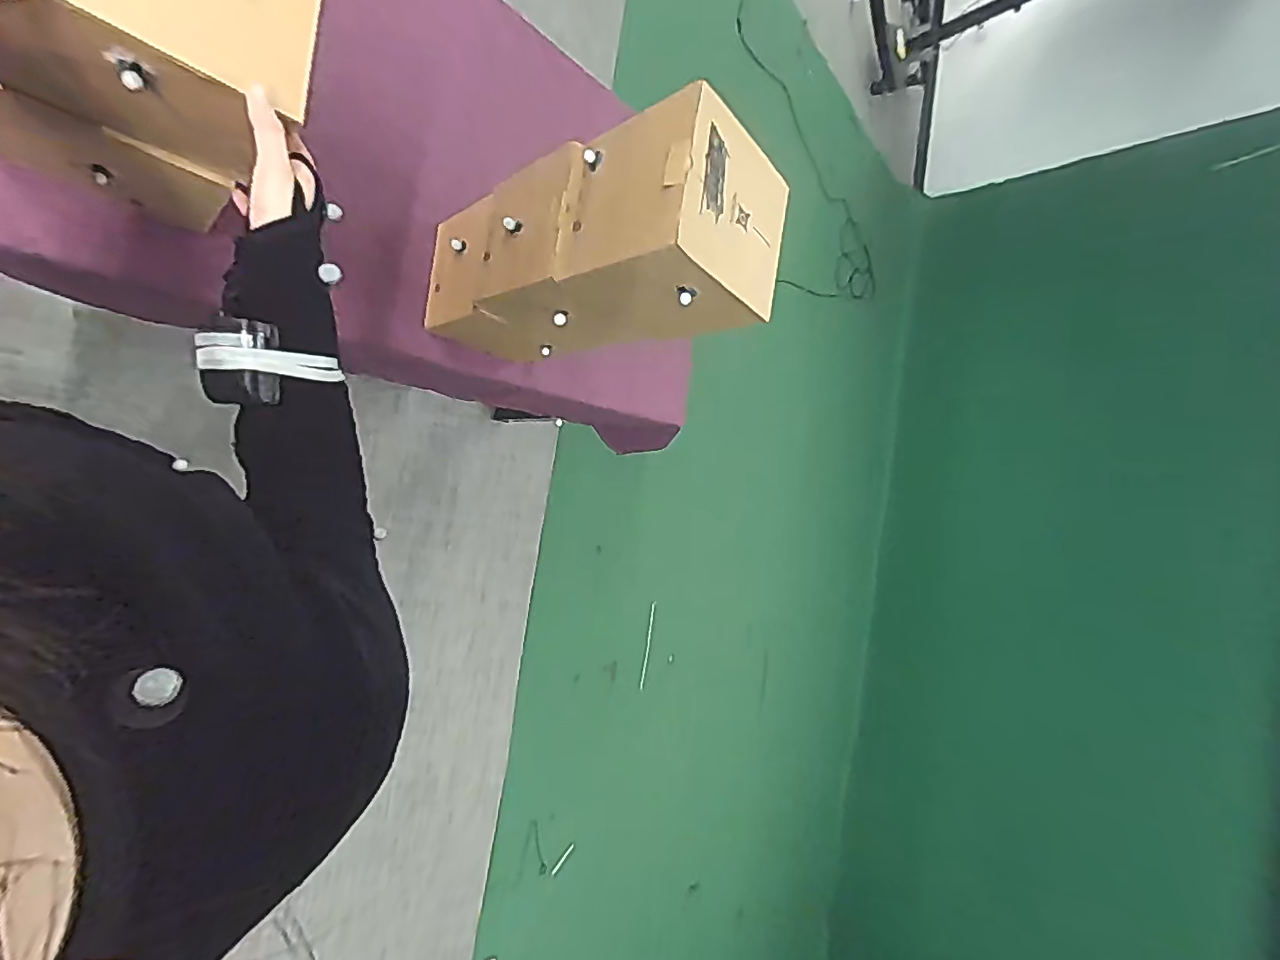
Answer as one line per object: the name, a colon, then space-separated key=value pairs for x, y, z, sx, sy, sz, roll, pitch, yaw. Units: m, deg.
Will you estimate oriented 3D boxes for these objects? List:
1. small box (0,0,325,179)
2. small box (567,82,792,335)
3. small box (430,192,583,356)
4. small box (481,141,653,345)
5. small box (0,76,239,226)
small box: x=-0.360 y=-0.362 z=0.405 sx=0.179 sy=0.176 sz=0.168 roll=10 pitch=88 yaw=-47
small box: x=0.043 y=-0.272 z=0.597 sx=0.179 sy=0.176 sz=0.168 roll=16 pitch=82 yaw=-47
small box: x=-0.195 y=-0.295 z=0.822 sx=0.179 sy=0.176 sz=0.168 roll=10 pitch=87 yaw=-47
small box: x=-0.082 y=-0.286 z=0.704 sx=0.179 sy=0.176 sz=0.168 roll=15 pitch=83 yaw=-46
small box: x=-0.481 y=-0.373 z=0.514 sx=0.168 sy=0.176 sz=0.179 roll=12 pitch=85 yaw=-47
